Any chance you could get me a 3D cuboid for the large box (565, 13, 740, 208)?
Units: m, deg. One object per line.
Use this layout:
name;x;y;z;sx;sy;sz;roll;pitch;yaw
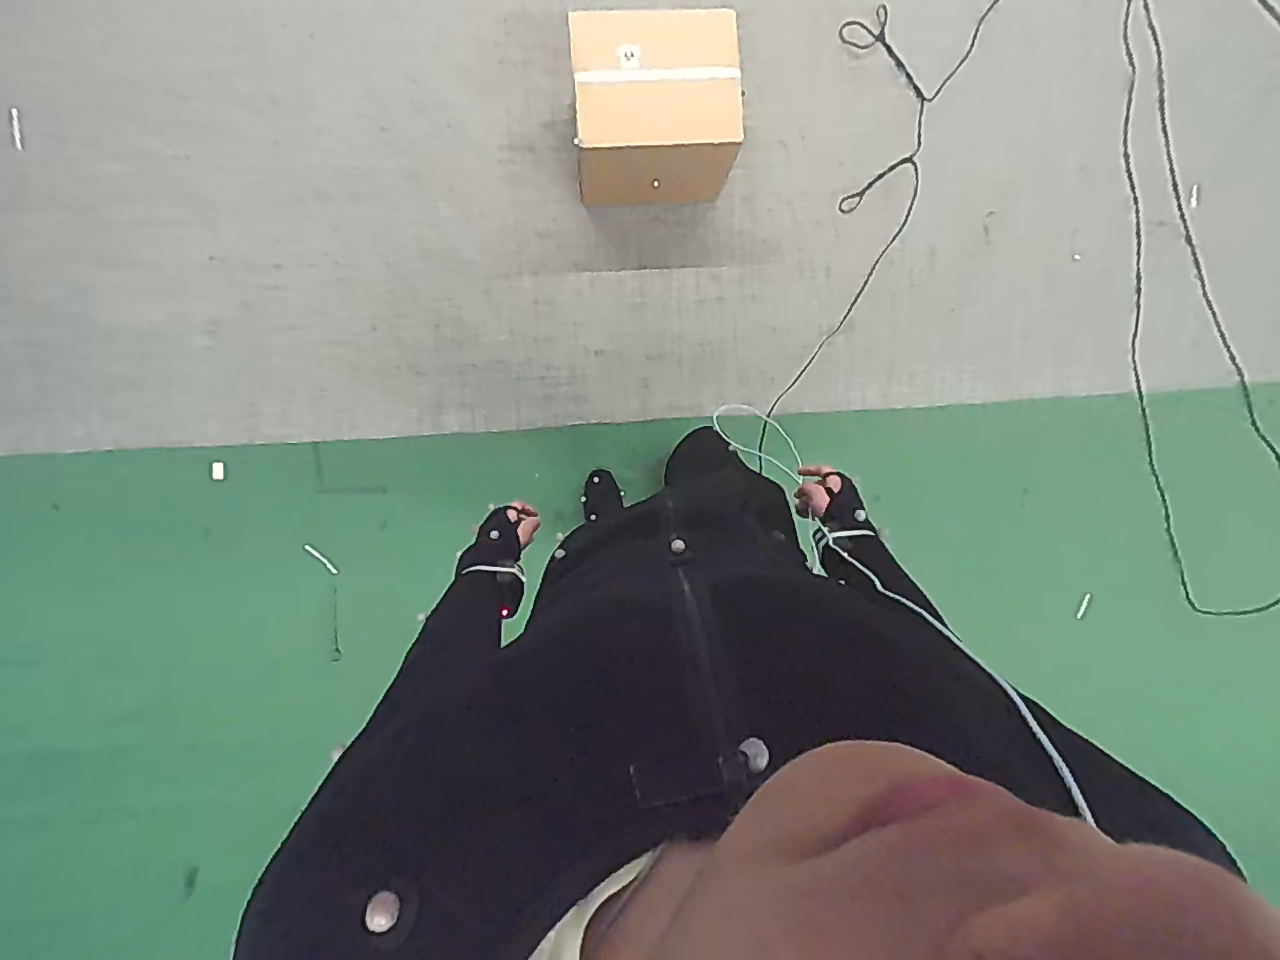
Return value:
large box;0.027;-0.964;1.454;0.408;0.320;0.320;-6;92;-3
